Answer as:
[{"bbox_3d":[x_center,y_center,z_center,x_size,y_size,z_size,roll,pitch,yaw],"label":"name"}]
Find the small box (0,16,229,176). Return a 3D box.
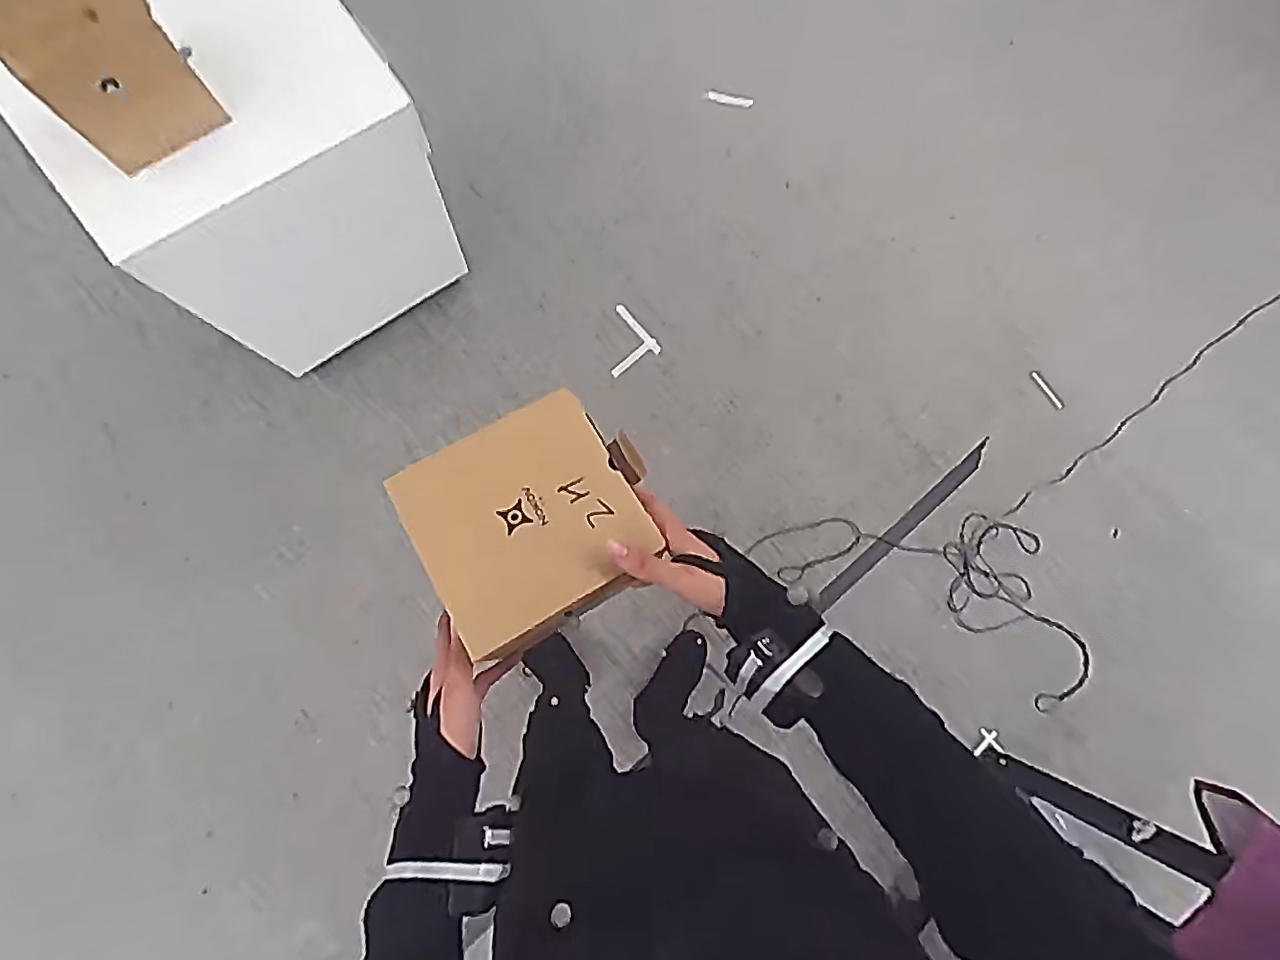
[{"bbox_3d":[-0.739,-0.572,0.754,0.179,0.176,0.168,-39,90,-11],"label":"small box"}]

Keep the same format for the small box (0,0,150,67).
[{"bbox_3d":[-0.716,-0.609,0.597,0.168,0.176,0.179,-38,89,-11],"label":"small box"}]

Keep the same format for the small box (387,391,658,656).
[{"bbox_3d":[-0.099,0.052,0.519,0.179,0.176,0.168,-30,77,-11],"label":"small box"}]
